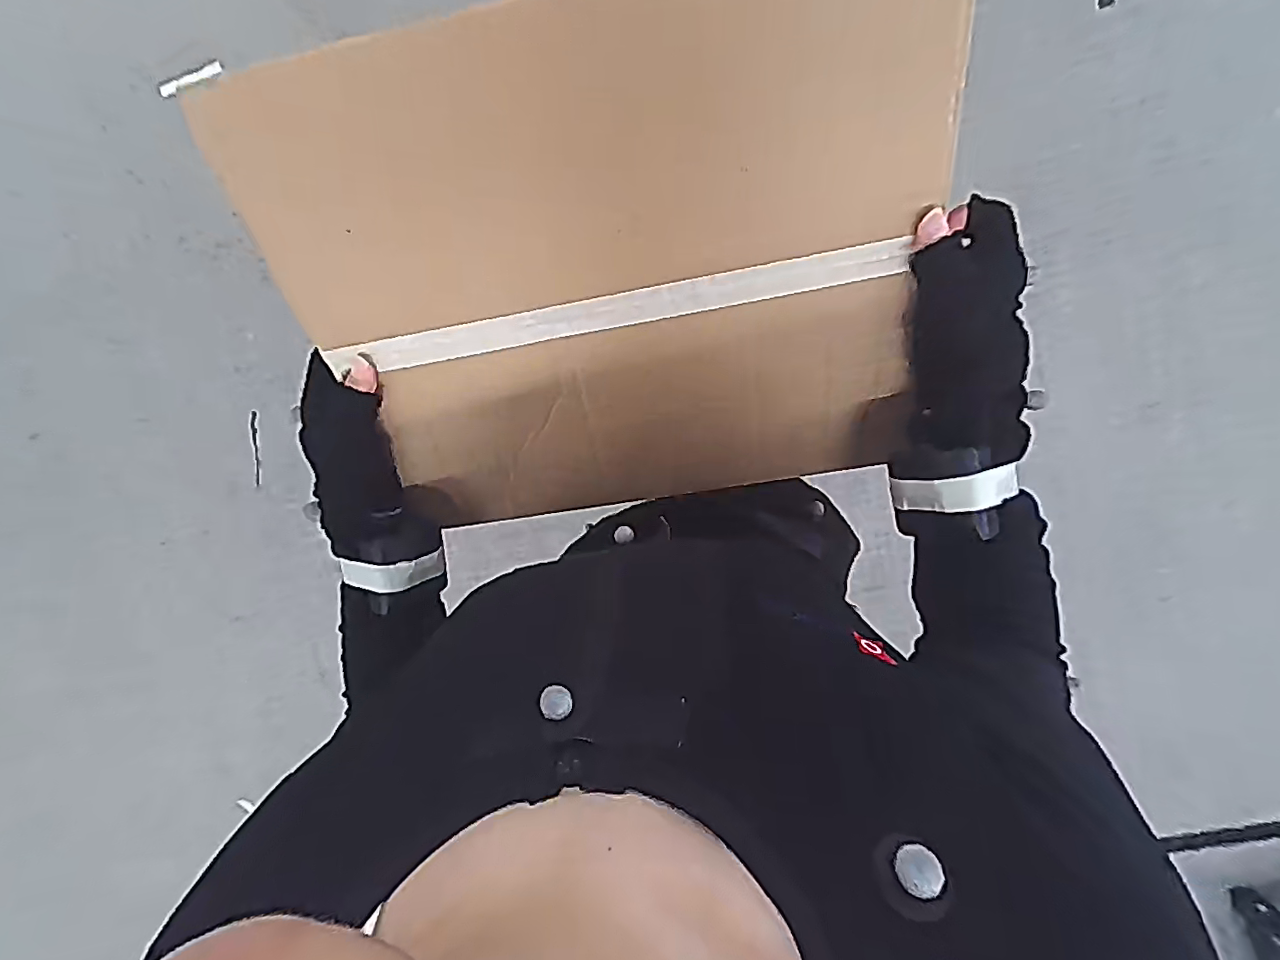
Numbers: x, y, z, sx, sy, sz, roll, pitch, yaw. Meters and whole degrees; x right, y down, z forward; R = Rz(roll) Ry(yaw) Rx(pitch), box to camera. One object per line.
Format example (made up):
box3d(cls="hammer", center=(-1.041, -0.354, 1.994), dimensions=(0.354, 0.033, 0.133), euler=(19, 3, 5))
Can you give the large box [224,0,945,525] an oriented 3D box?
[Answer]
box3d(cls="large box", center=(-0.013, -0.200, 0.486), dimensions=(0.408, 0.320, 0.320), euler=(-9, 125, 7))
